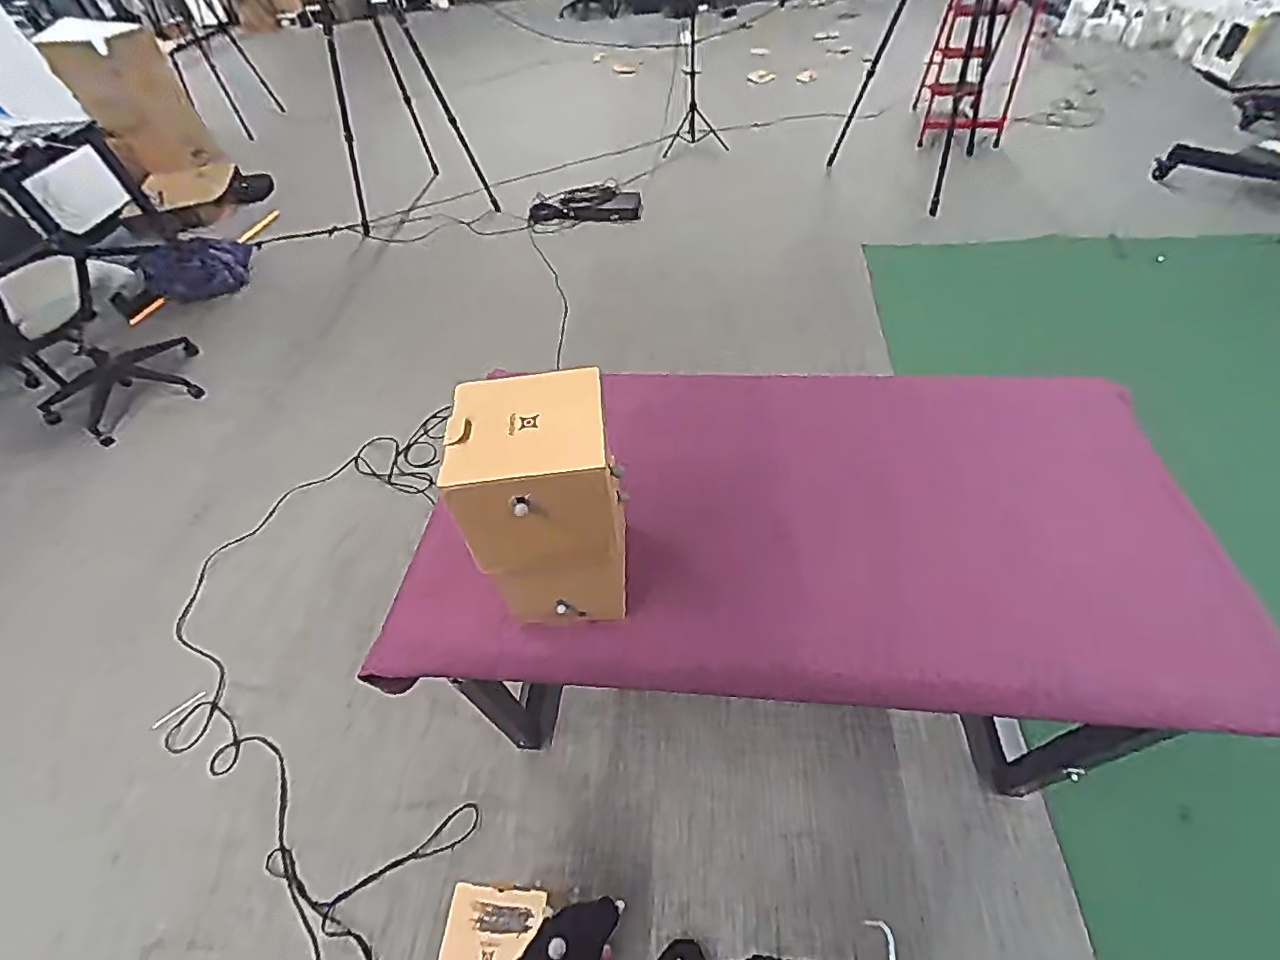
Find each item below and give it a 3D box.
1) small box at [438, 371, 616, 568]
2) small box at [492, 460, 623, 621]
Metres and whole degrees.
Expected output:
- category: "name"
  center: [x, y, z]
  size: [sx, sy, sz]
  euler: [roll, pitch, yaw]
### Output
- category: "small box"
  center: [-0.122, -0.009, 0.660]
  size: [0.179, 0.176, 0.168]
  euler: [-6, 50, 0]
- category: "small box"
  center: [-0.115, 0.088, 0.791]
  size: [0.168, 0.176, 0.179]
  euler: [-2, 49, 3]
